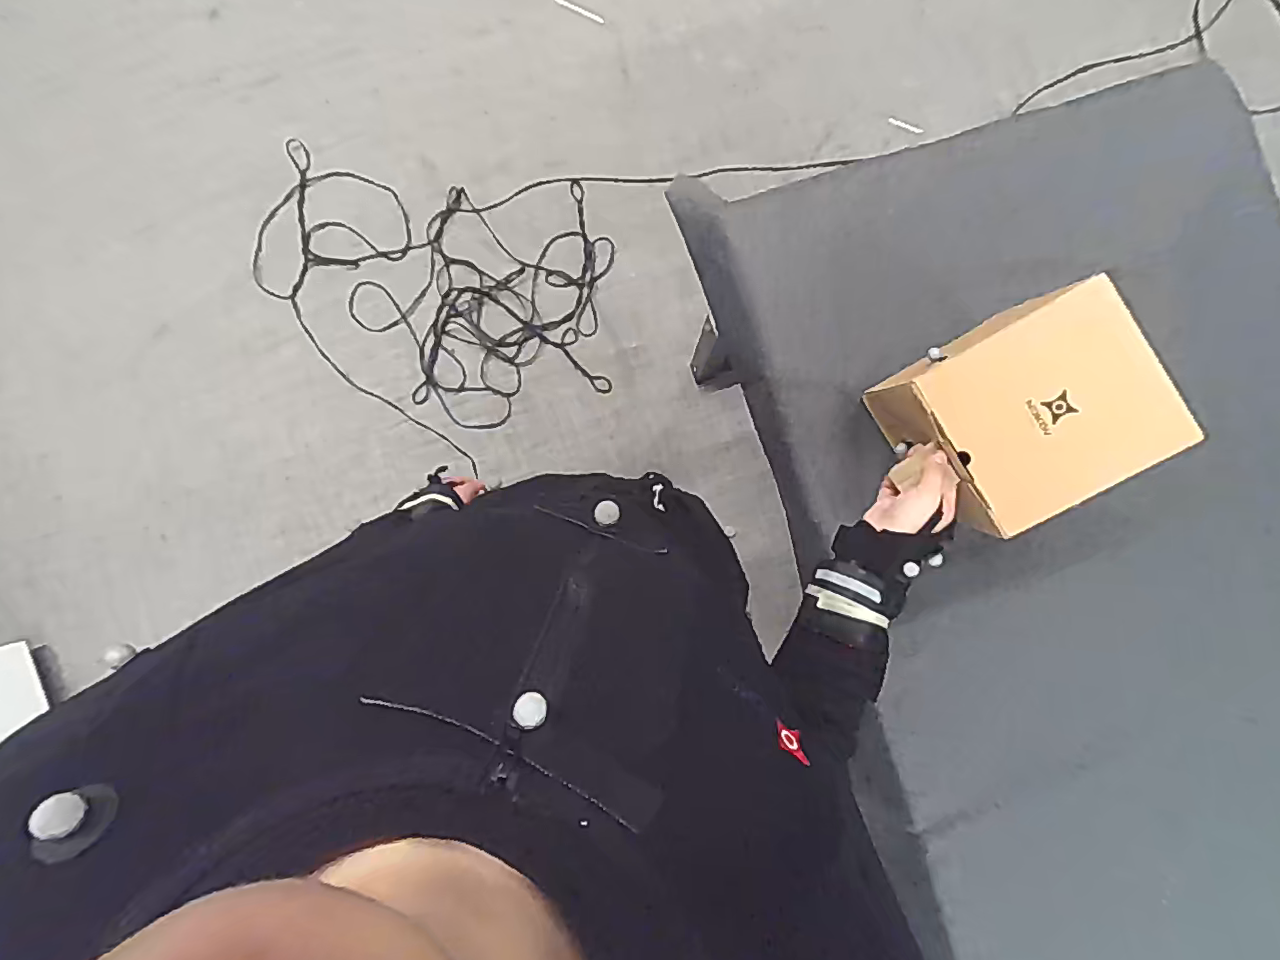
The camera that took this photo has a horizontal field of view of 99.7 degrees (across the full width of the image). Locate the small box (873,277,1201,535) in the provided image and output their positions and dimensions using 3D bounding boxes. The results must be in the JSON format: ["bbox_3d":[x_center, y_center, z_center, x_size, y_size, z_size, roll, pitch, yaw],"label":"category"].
[{"bbox_3d":[0.372,-0.069,0.547,0.179,0.176,0.168,-31,91,10],"label":"small box"}]
